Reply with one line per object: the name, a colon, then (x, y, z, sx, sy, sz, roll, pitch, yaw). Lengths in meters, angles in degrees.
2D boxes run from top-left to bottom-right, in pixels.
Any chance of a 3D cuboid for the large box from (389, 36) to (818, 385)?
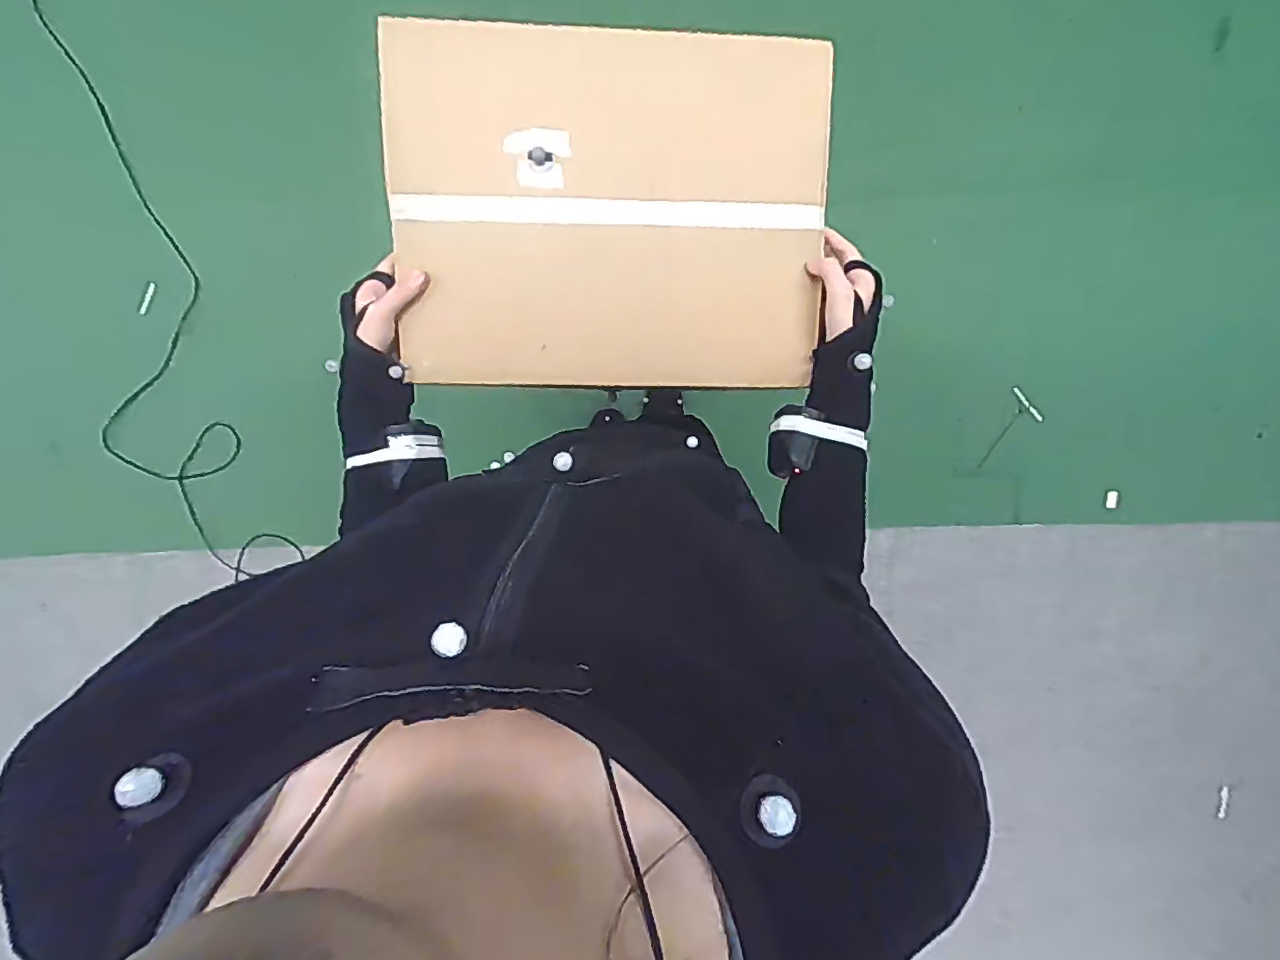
large box: (-0.035, -0.277, 0.666, 0.408, 0.320, 0.320, 0, 99, -3)
